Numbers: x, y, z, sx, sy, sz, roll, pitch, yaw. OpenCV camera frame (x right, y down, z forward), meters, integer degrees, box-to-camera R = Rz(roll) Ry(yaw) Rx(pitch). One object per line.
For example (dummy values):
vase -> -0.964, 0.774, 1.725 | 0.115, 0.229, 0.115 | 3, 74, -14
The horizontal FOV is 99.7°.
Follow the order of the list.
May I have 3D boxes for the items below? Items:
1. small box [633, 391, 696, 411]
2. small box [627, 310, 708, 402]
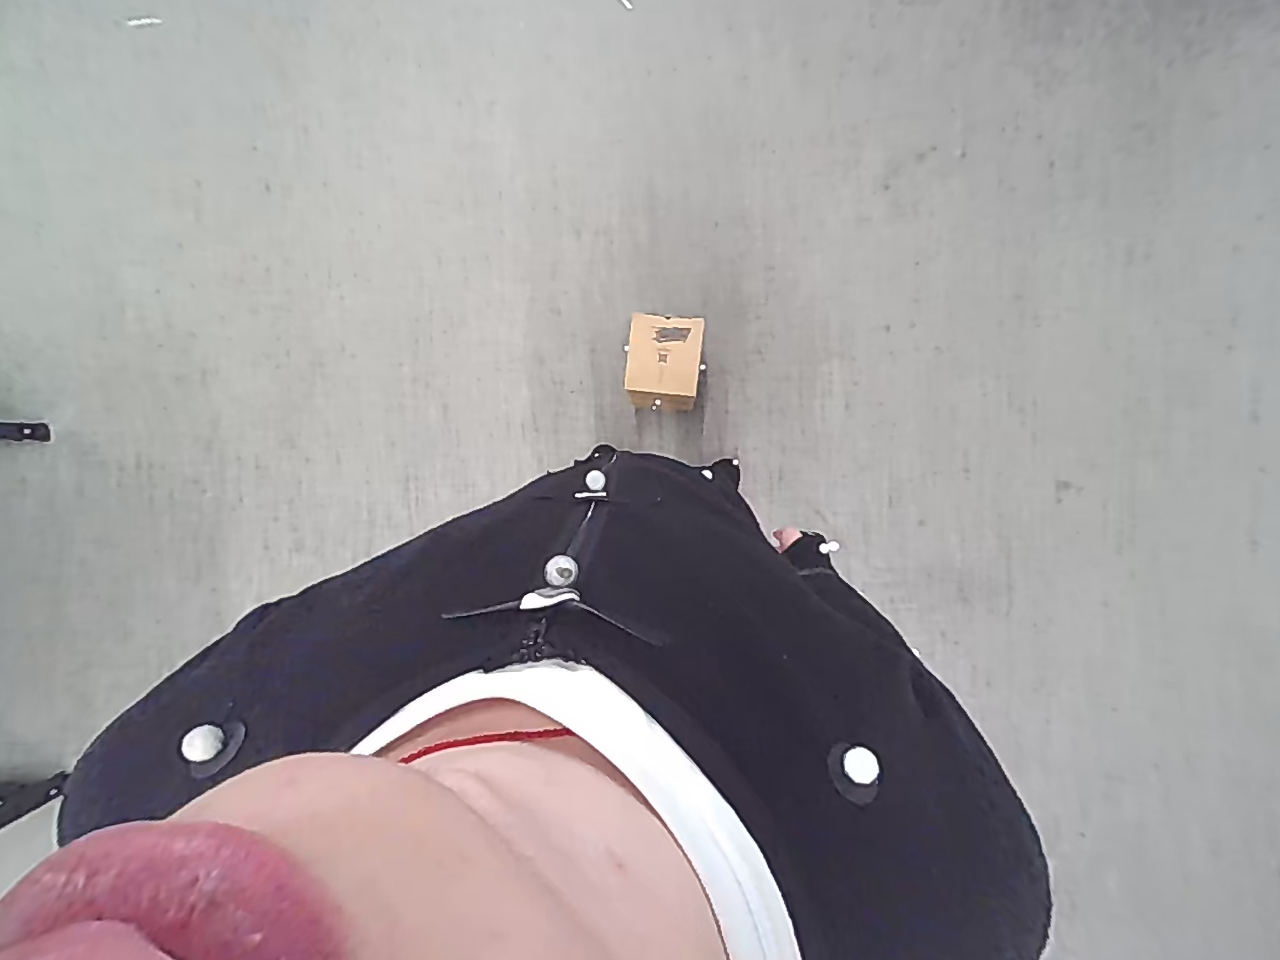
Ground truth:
small box -> 0.074, -0.288, 1.459 | 0.168, 0.176, 0.179 | 6, 92, 3
small box -> 0.065, -0.290, 1.294 | 0.168, 0.176, 0.179 | 7, 94, 4
